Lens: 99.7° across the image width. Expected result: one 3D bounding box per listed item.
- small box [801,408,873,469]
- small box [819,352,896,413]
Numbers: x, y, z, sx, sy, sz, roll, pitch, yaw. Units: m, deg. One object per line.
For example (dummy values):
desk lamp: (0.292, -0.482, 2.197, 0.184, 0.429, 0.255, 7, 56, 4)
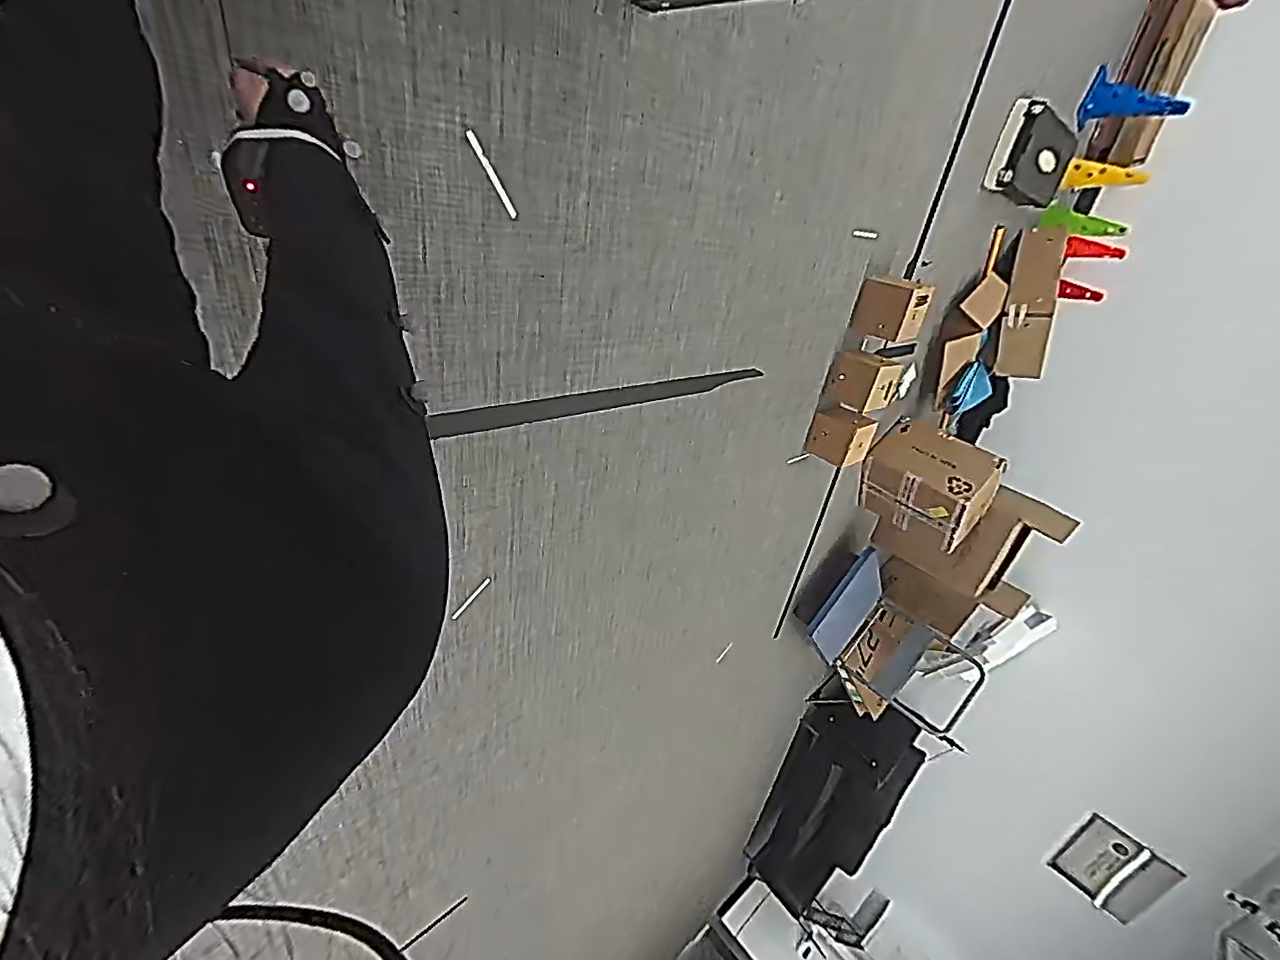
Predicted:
small box: (0.750, -0.166, 2.067, 0.179, 0.176, 0.168, -17, 129, -40)
small box: (0.783, -0.359, 1.951, 0.179, 0.176, 0.168, -15, 127, -41)
